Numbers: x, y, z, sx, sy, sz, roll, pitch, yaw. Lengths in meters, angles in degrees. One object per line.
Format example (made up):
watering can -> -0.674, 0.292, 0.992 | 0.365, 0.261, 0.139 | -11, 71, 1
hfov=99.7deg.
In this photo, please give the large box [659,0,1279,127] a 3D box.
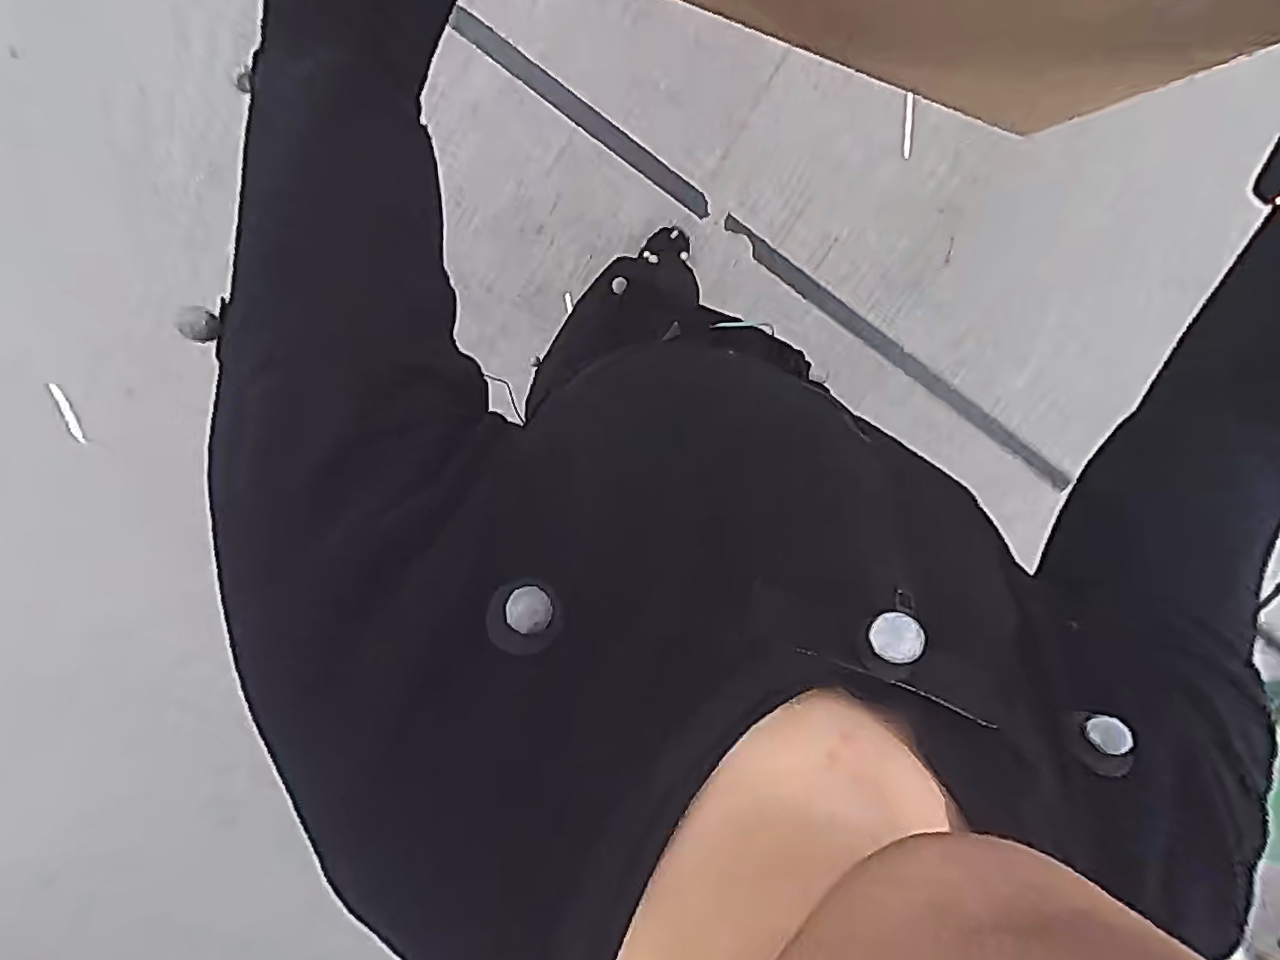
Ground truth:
large box -> 0.227, -0.487, 0.335 | 0.408, 0.320, 0.320 | 16, 111, -6
